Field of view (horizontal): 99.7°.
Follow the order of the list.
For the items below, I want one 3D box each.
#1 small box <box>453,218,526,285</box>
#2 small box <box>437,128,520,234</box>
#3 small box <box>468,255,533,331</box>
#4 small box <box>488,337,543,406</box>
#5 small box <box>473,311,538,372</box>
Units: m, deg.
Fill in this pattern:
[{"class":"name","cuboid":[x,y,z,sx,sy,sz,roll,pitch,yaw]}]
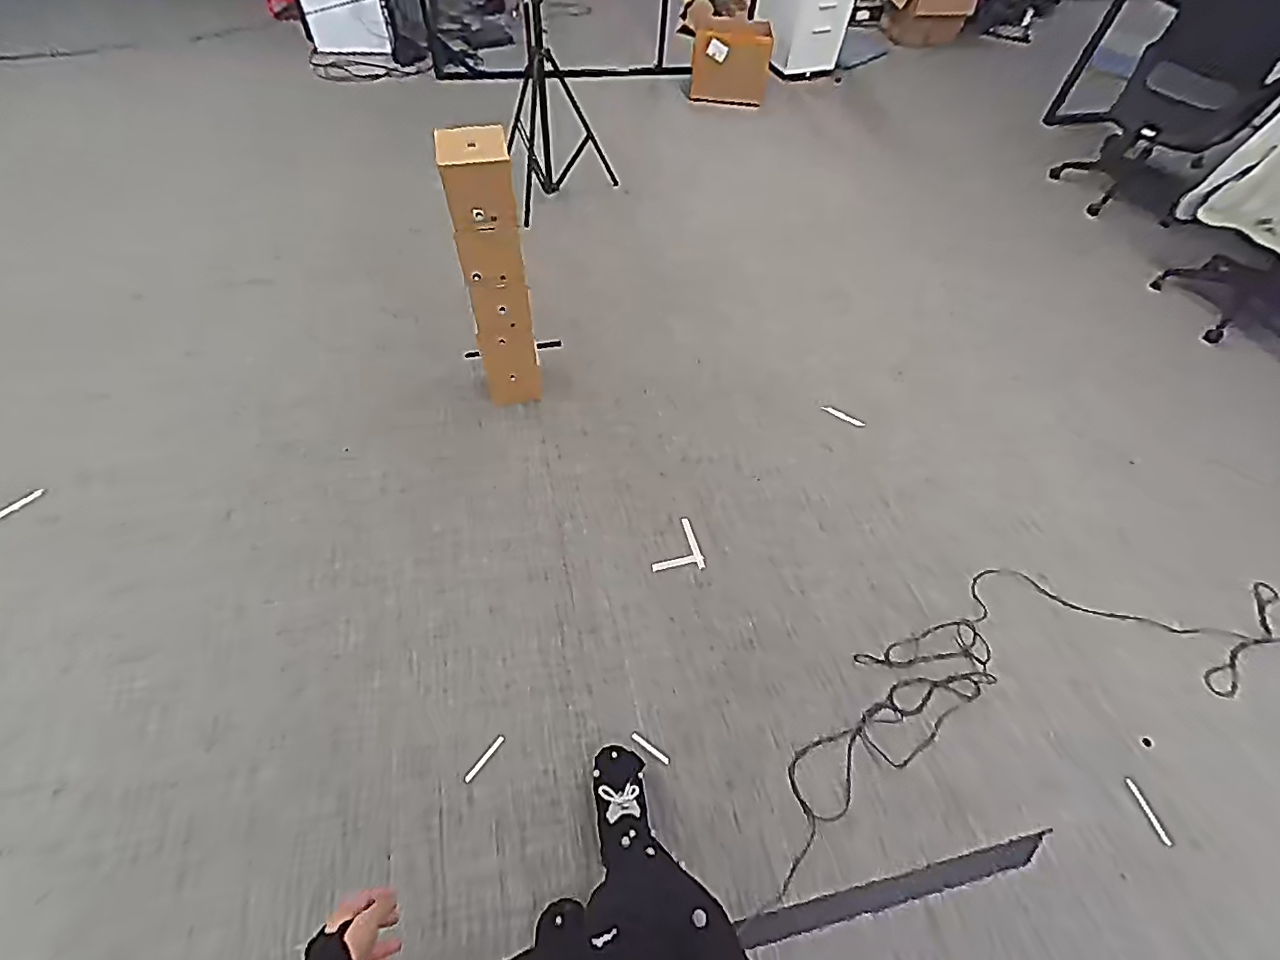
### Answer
[{"class":"small box","cuboid":[-0.411,-0.655,1.484,0.168,0.176,0.179,-9,57,-9]},{"class":"small box","cuboid":[-0.400,-0.745,1.350,0.168,0.176,0.179,-11,59,-10]},{"class":"small box","cuboid":[-0.417,-0.562,1.620,0.168,0.176,0.179,-8,58,-9]},{"class":"small box","cuboid":[-0.437,-0.380,1.892,0.179,0.176,0.168,-9,58,-10]},{"class":"small box","cuboid":[-0.434,-0.468,1.752,0.179,0.176,0.168,-7,58,-8]}]
